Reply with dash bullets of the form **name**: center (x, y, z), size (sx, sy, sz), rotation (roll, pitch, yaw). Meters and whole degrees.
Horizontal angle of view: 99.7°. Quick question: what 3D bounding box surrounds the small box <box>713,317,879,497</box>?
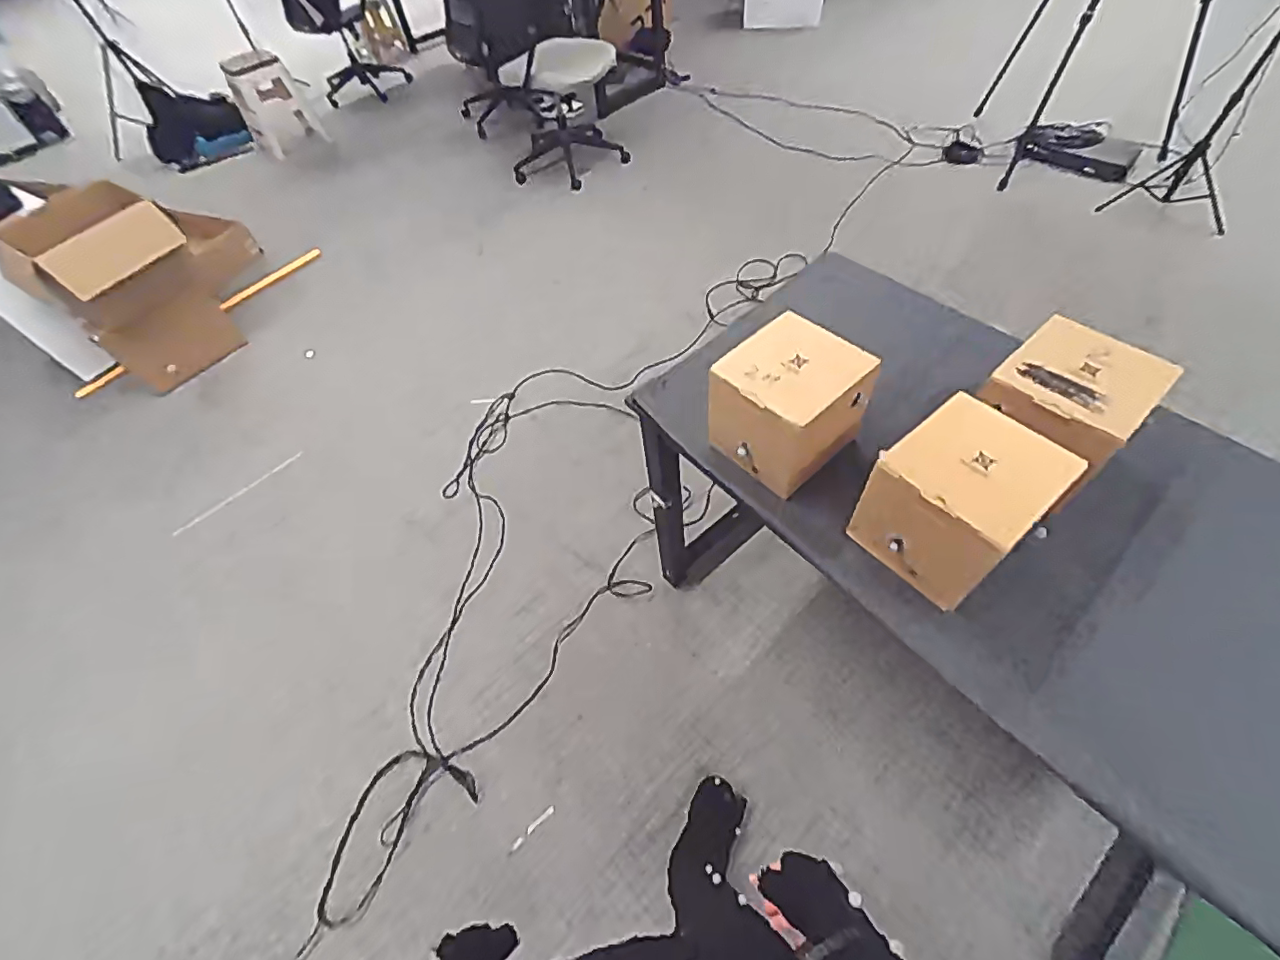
- **small box**: center (0.224, -0.109, 0.826), size (0.179, 0.176, 0.168), rotation (-38, 59, -19)
